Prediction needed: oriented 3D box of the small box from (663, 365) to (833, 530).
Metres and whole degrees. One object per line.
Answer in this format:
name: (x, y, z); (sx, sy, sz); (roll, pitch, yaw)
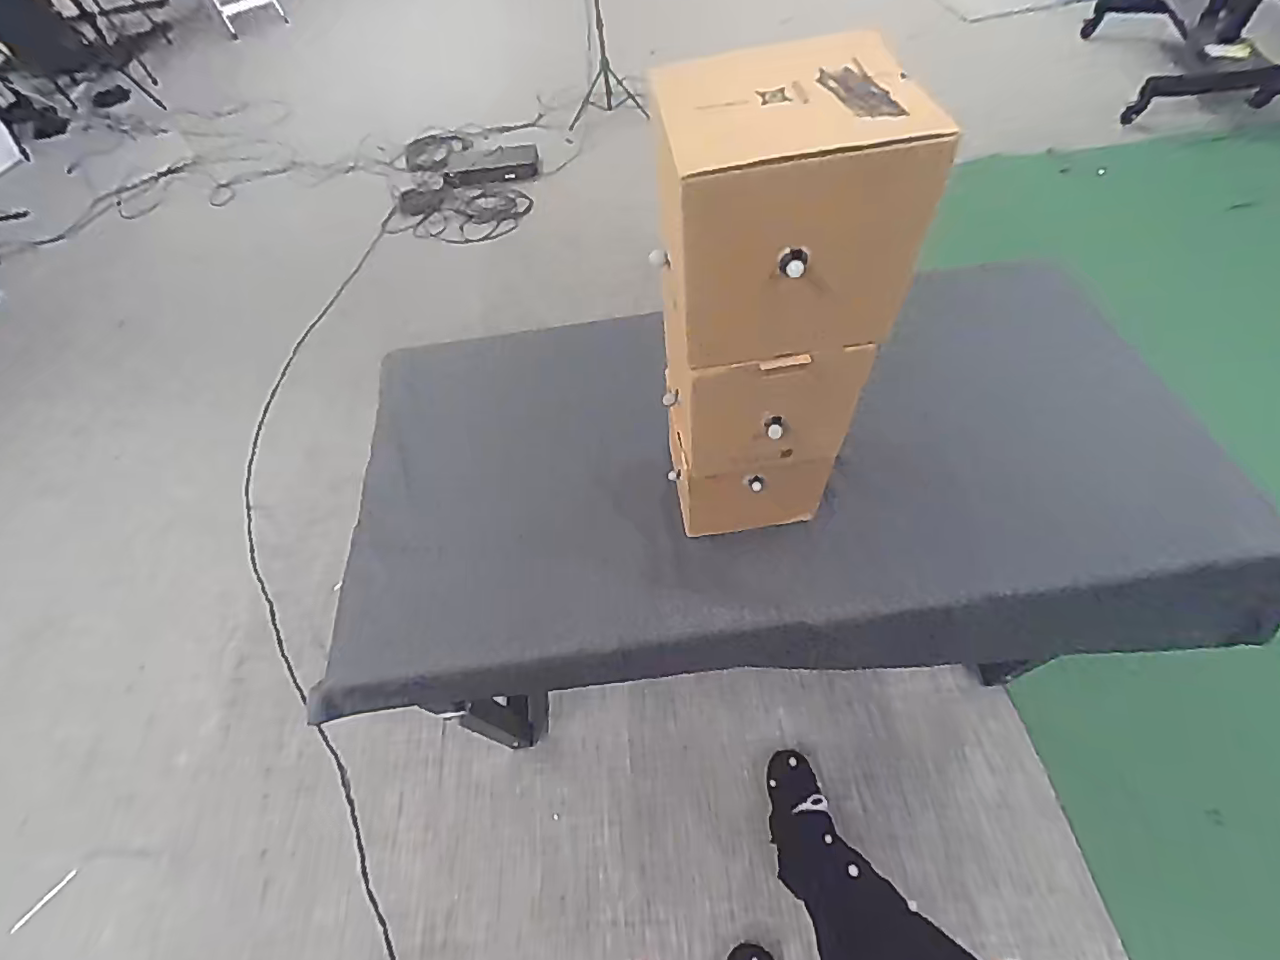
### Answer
small box: (0.130, -0.048, 0.714); (0.179, 0.176, 0.168); (-8, 58, 0)

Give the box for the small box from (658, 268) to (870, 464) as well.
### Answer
small box: (0.117, -0.131, 0.574); (0.168, 0.176, 0.179); (-9, 58, 0)

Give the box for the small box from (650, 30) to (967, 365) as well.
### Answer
small box: (0.108, -0.216, 0.434); (0.179, 0.176, 0.168); (-10, 57, -2)
